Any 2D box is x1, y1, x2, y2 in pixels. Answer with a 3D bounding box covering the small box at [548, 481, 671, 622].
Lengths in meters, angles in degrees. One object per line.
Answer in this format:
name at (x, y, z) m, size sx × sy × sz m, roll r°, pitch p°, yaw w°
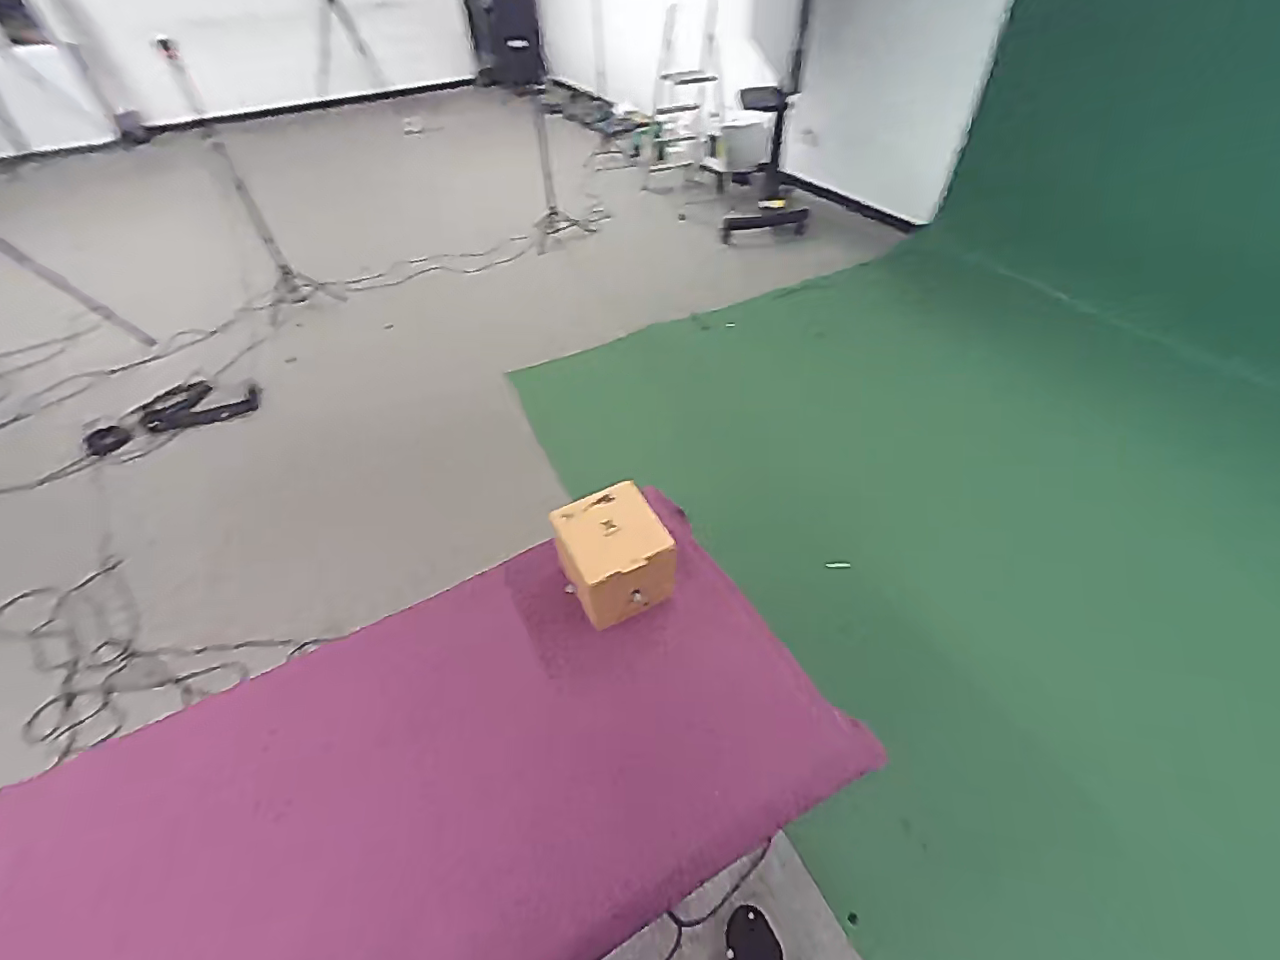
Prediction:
small box at (-0.053, 0.139, 1.004) m, size 0.168 × 0.176 × 0.179 m, roll -22°, pitch 52°, yaw -17°
